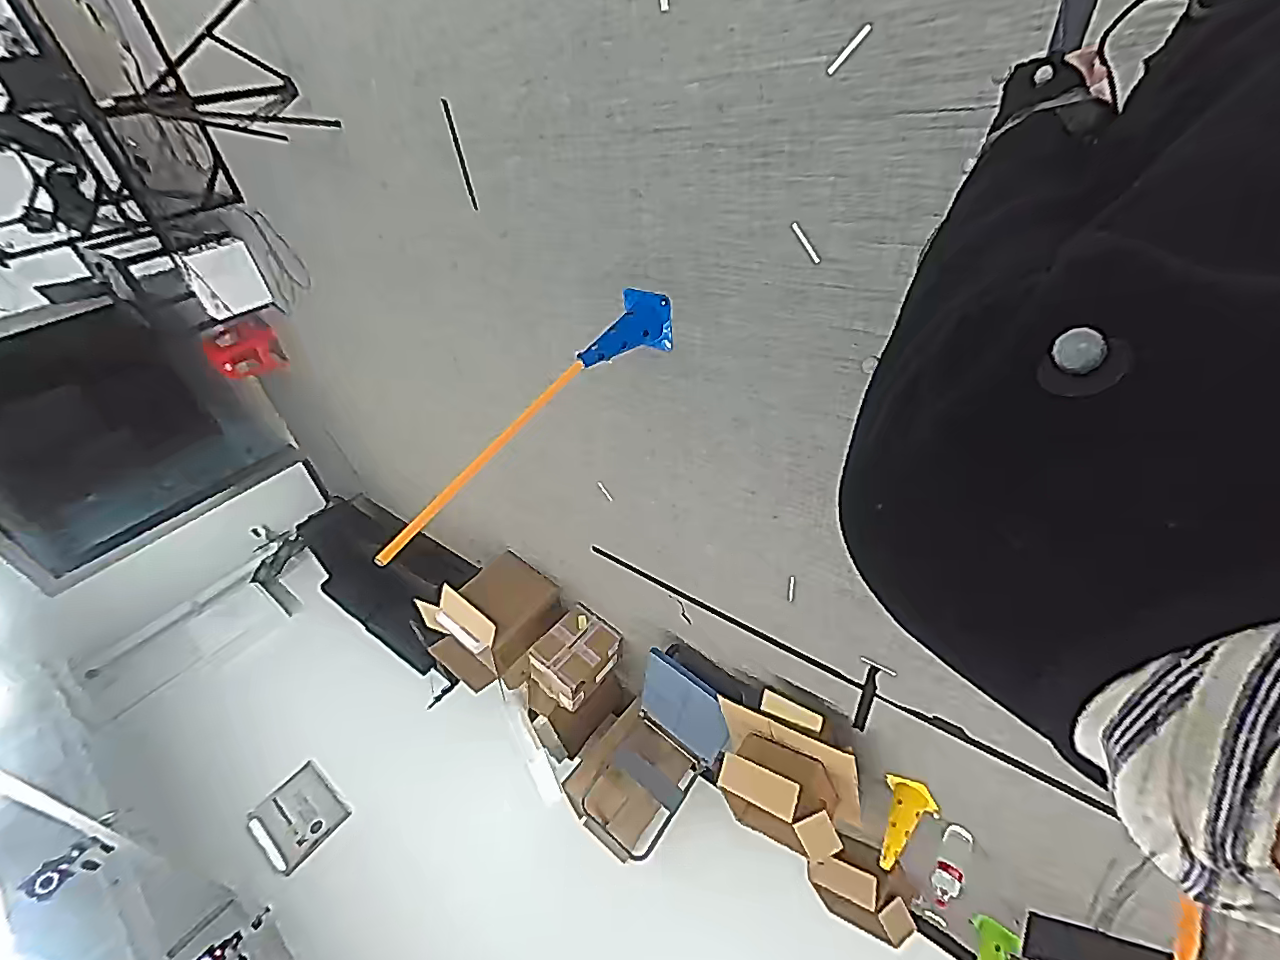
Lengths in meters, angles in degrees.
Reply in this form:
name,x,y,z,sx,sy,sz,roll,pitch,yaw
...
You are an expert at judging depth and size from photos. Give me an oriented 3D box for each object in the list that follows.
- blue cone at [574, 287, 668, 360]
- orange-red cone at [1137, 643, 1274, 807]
name,x,y,z,sx,sy,sz,roll,pitch,yaw
blue cone,-0.078,-0.482,1.791,0.193,0.380,0.192,25,138,30
orange-red cone,1.324,0.607,1.282,0.198,0.360,0.199,25,140,30
